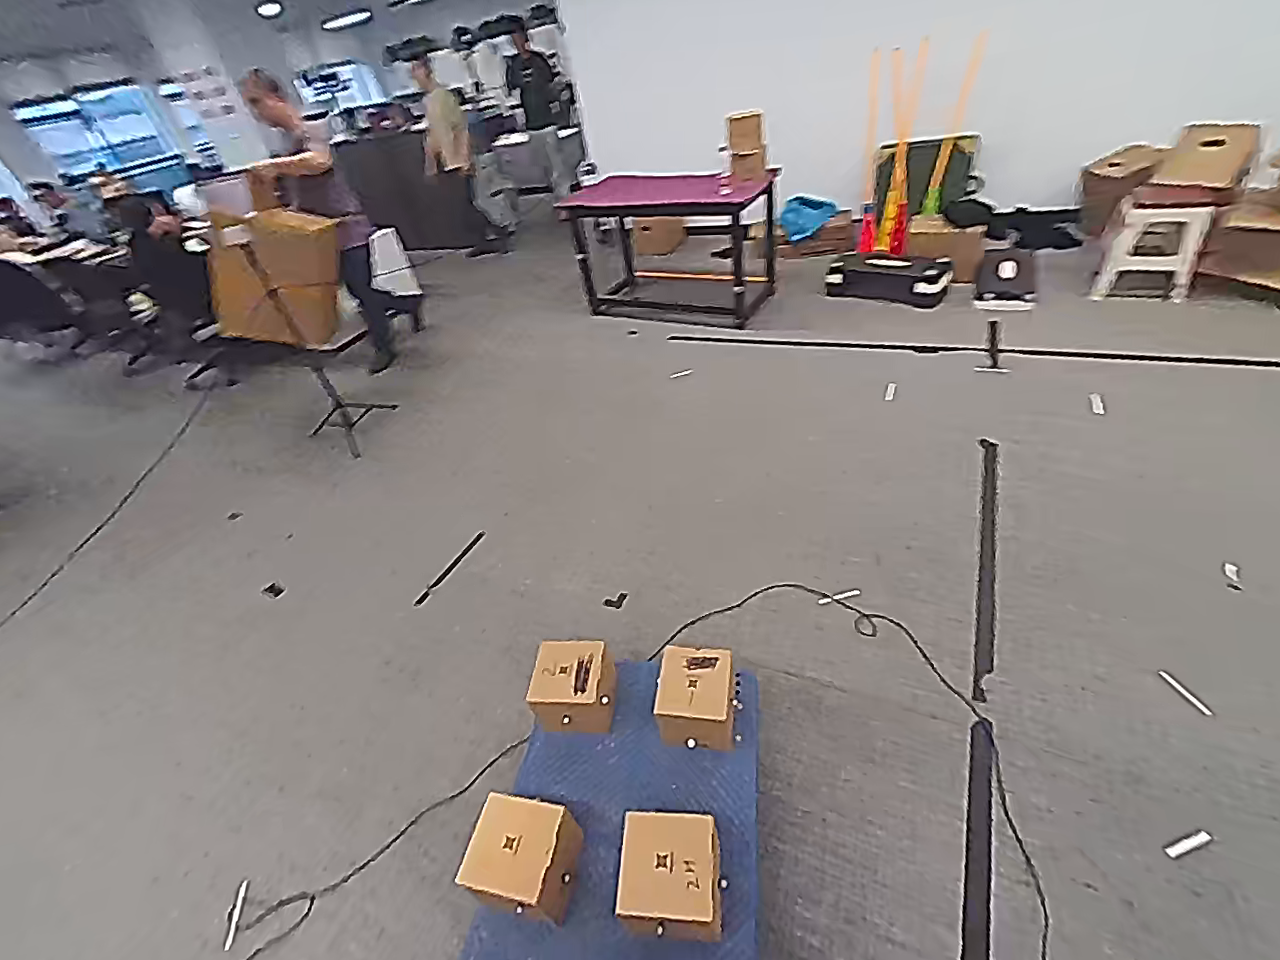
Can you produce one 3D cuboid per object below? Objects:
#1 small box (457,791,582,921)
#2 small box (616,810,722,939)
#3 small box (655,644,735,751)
[{"bbox_3d":[-0.239,0.777,1.118,0.179,0.176,0.168,2,41,15],"label":"small box"},{"bbox_3d":[0.064,0.766,1.050,0.179,0.176,0.168,-4,40,11],"label":"small box"},{"bbox_3d":[0.141,0.527,1.313,0.168,0.176,0.179,0,42,15],"label":"small box"}]
